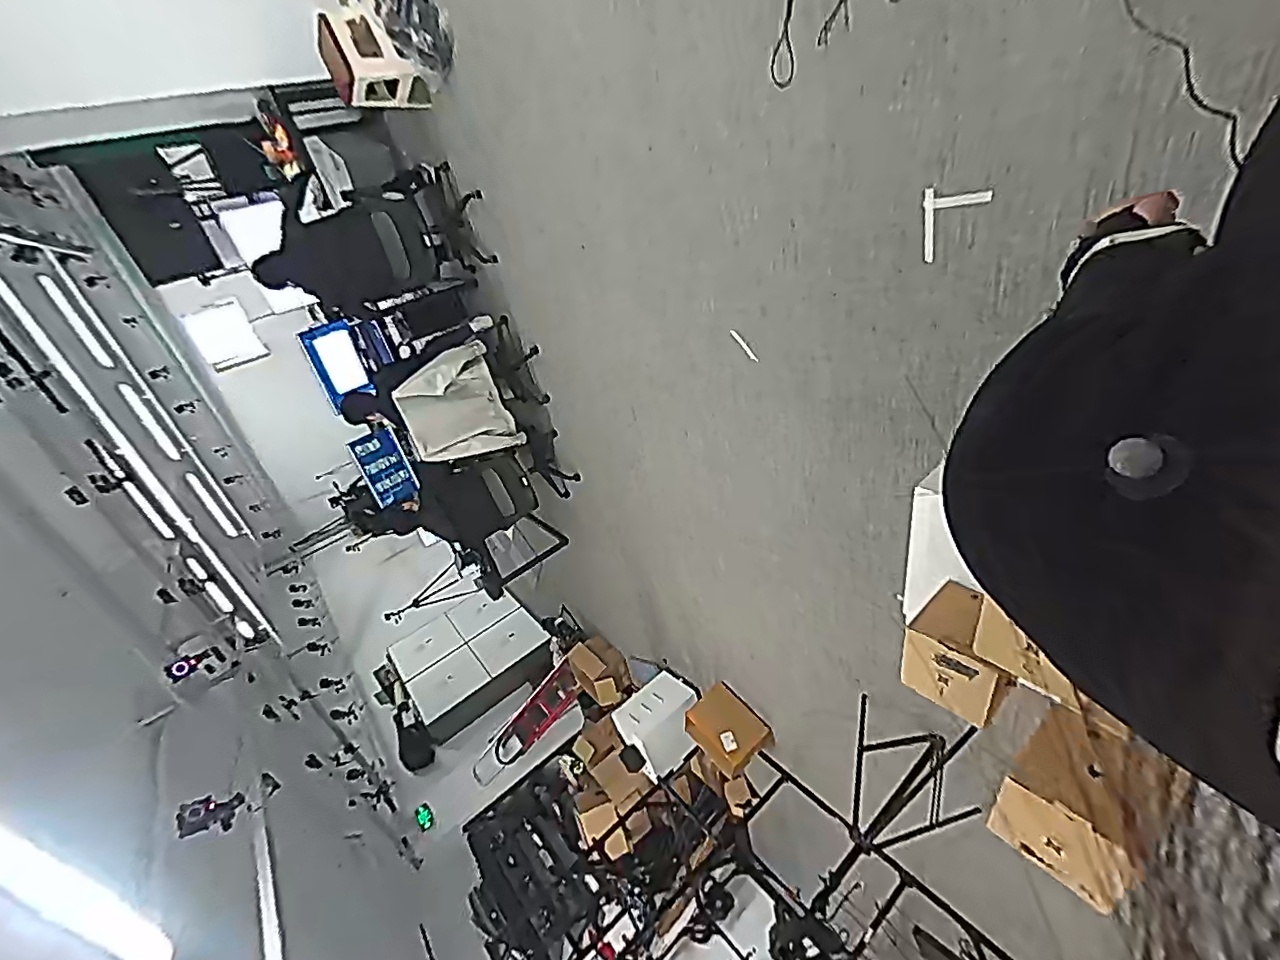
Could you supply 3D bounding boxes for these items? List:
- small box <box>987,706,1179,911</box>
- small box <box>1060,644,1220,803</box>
[{"bbox_3d":[0.670,0.487,0.824,0.168,0.176,0.179,30,141,45],"label":"small box"},{"bbox_3d":[0.798,0.407,0.889,0.168,0.176,0.179,30,142,44],"label":"small box"}]
